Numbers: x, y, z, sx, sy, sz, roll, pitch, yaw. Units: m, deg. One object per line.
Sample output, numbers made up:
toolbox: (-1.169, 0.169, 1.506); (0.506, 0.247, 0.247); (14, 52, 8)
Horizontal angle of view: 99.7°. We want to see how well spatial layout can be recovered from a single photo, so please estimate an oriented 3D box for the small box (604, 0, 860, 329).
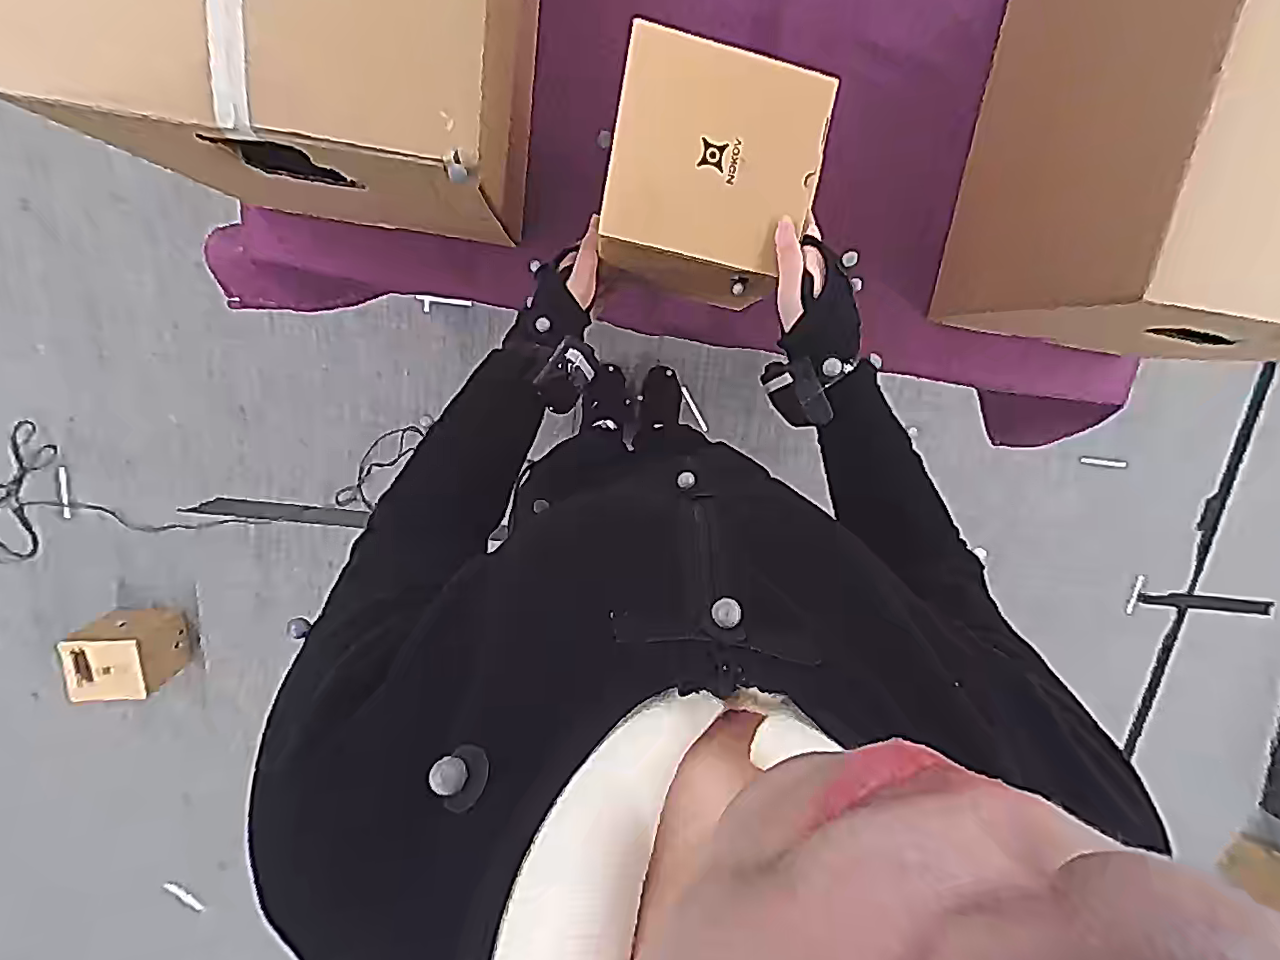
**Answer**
small box: (0.076, -0.264, 0.488); (0.168, 0.176, 0.179); (6, 80, -27)
